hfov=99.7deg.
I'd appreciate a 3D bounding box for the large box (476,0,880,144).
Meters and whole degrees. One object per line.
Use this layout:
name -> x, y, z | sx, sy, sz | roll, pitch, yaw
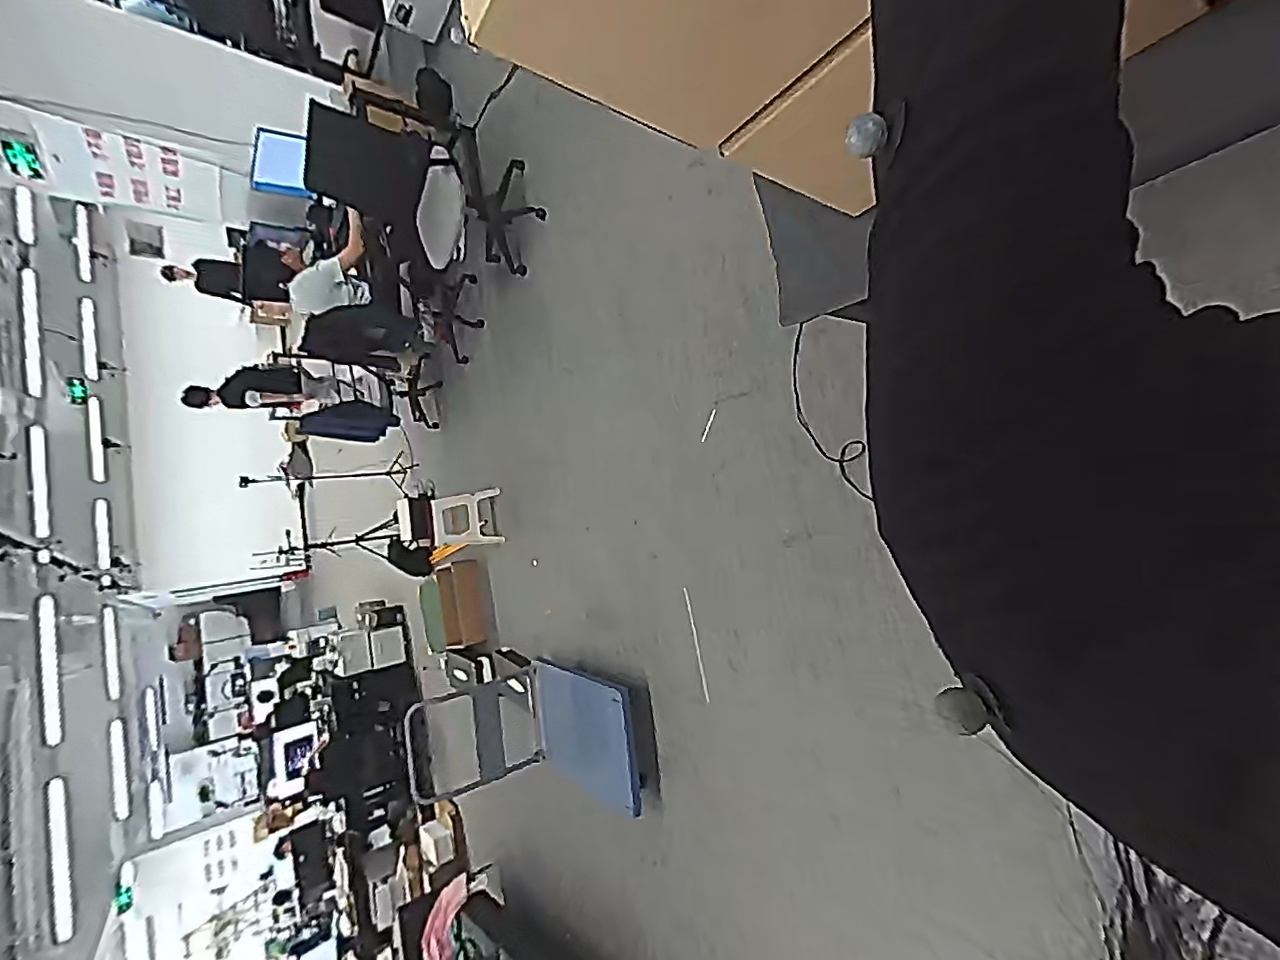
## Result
large box -> 0.075, -0.579, 0.437 | 0.408, 0.320, 0.320 | -14, 81, 52
